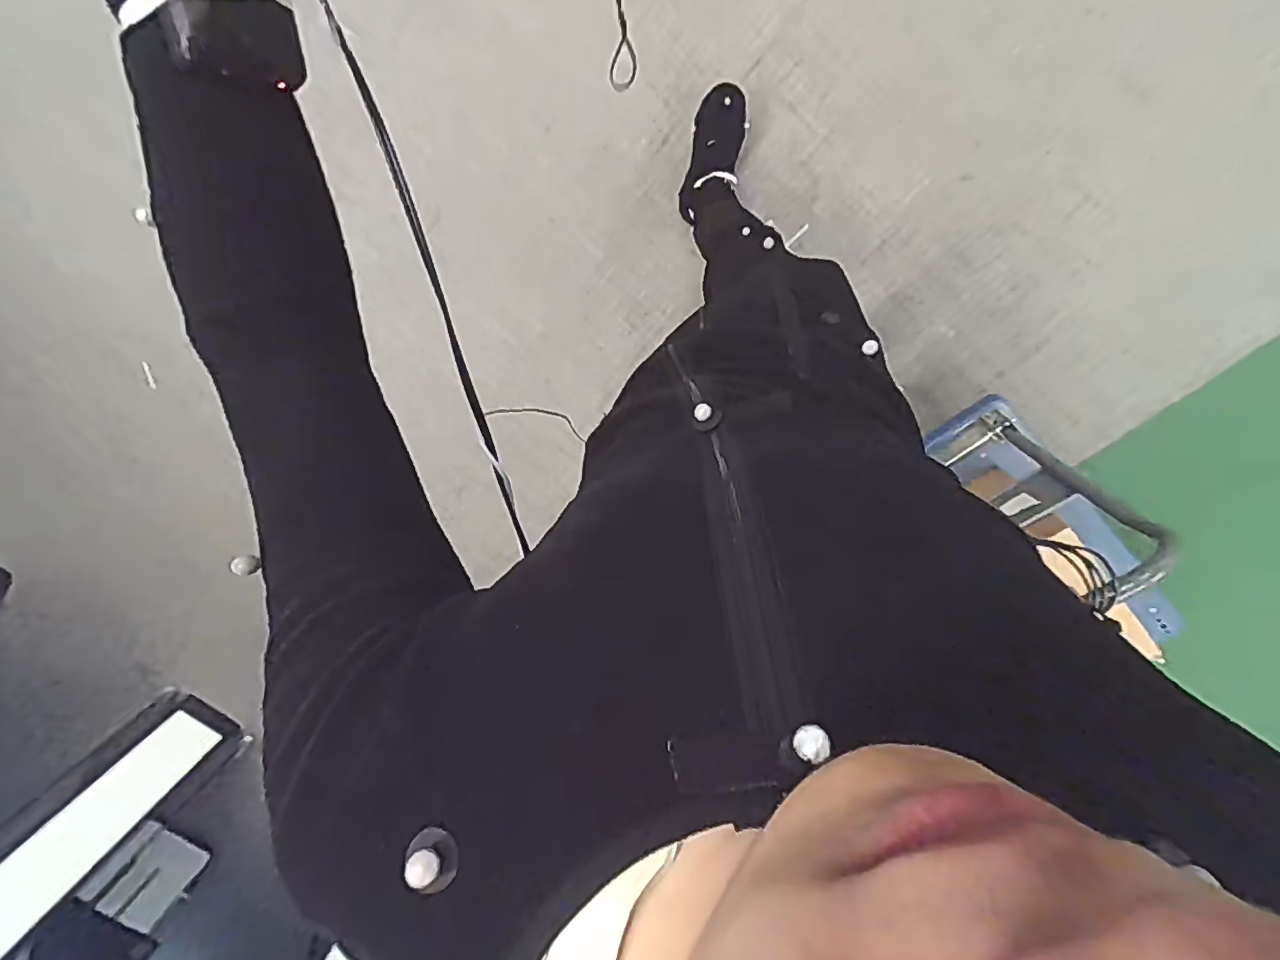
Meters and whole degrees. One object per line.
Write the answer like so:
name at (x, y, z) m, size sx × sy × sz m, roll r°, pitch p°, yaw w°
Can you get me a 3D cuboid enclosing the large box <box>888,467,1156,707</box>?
large box at (0.881, 0.247, 1.303) m, size 0.320 × 0.320 × 0.408 m, roll -38°, pitch 104°, yaw 23°
